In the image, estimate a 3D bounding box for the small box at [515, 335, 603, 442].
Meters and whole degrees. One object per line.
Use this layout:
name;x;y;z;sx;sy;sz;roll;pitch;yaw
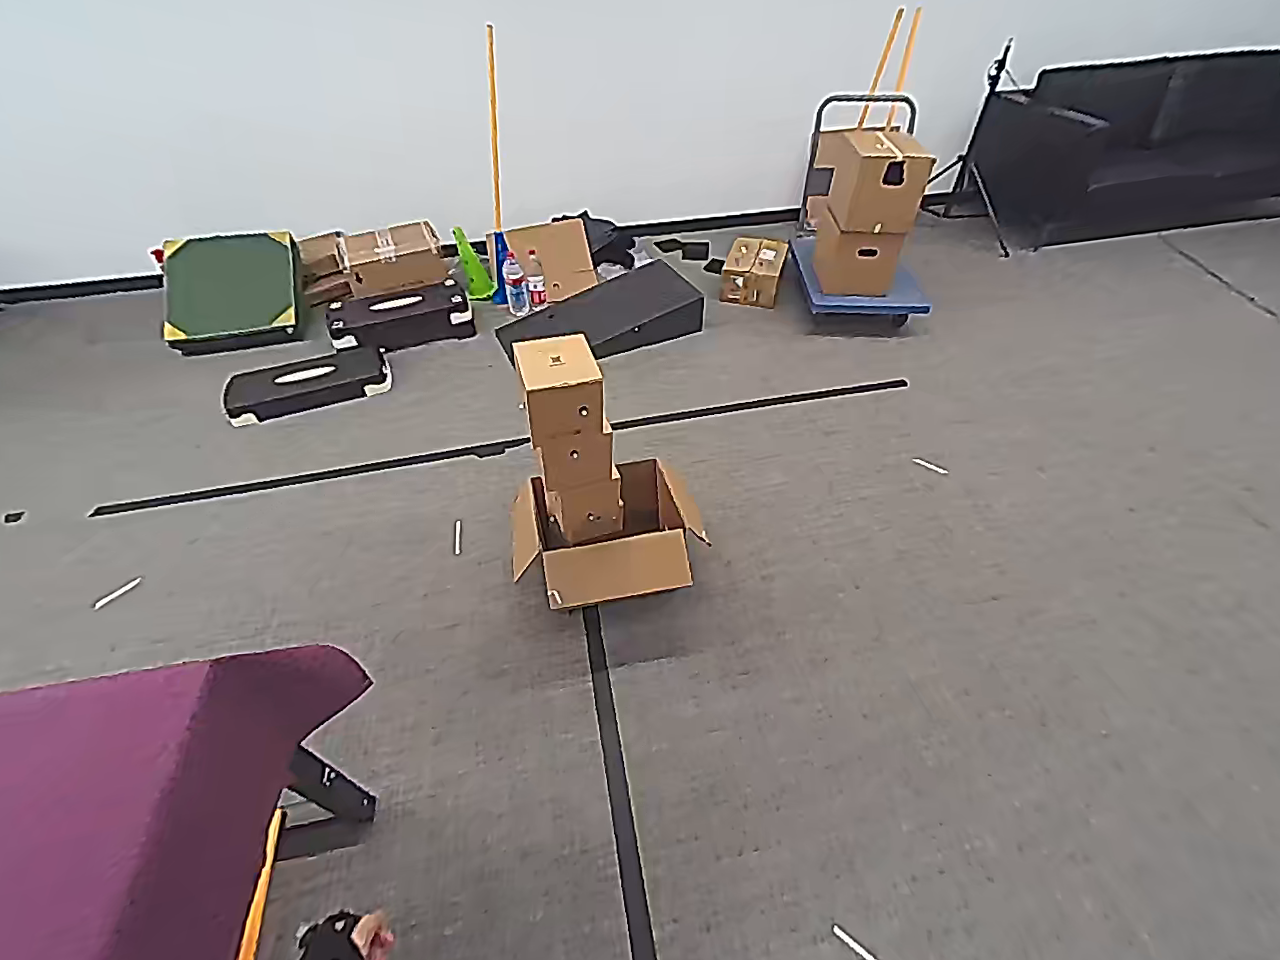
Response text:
small box;-0.182;-0.203;1.233;0.168;0.176;0.179;-11;50;-15

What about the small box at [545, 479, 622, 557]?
small box;-0.166;0.100;1.622;0.179;0.176;0.168;-24;54;-24

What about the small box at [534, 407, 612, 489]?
small box;-0.173;-0.098;1.358;0.179;0.176;0.168;-12;51;-15
